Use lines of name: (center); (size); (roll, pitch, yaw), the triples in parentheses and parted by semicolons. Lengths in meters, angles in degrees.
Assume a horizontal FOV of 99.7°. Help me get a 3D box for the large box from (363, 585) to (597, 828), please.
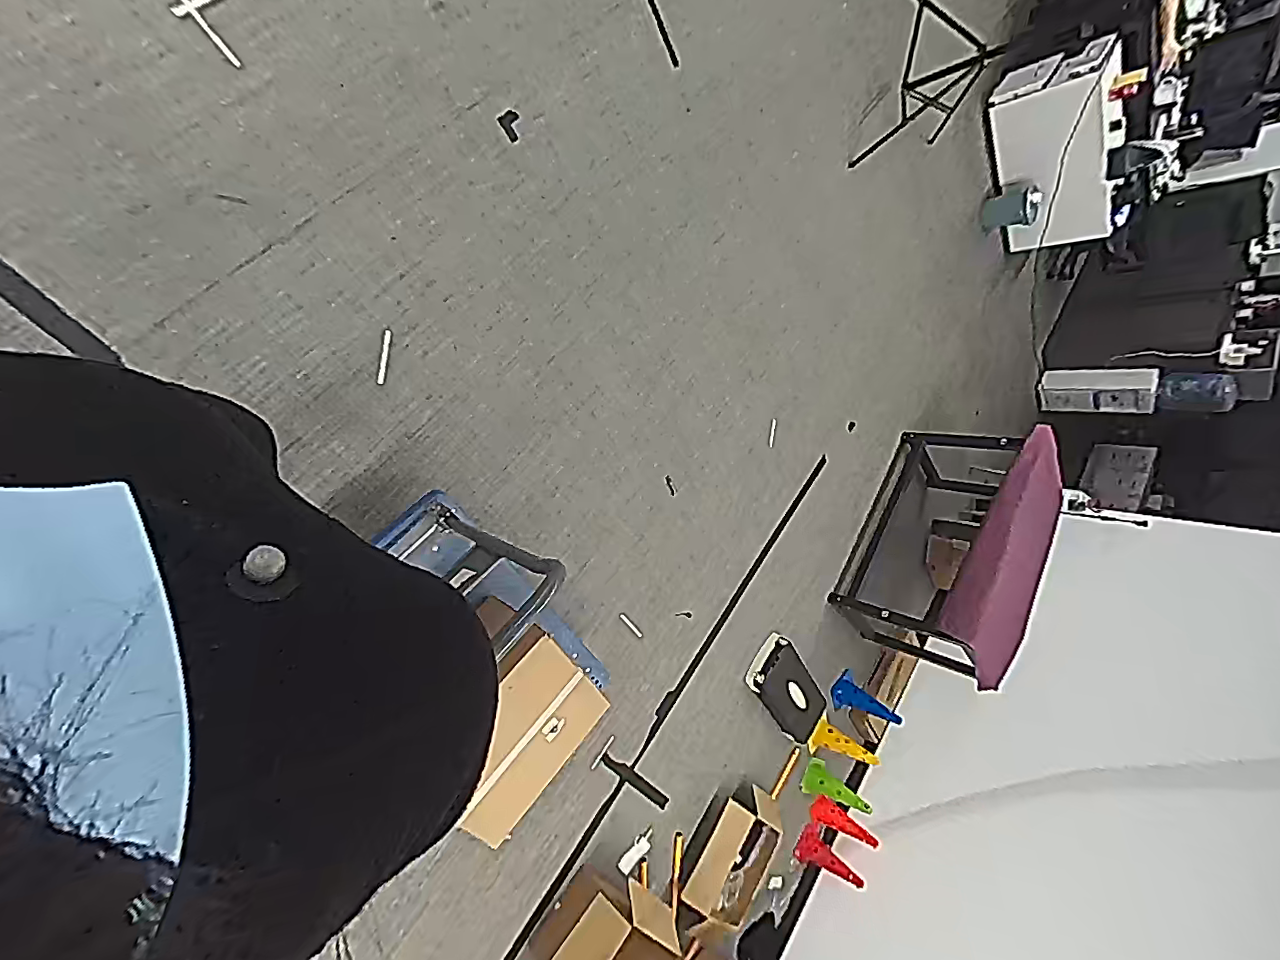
large box: (-0.394, 0.540, 1.353); (0.408, 0.320, 0.320); (-47, 125, -25)
